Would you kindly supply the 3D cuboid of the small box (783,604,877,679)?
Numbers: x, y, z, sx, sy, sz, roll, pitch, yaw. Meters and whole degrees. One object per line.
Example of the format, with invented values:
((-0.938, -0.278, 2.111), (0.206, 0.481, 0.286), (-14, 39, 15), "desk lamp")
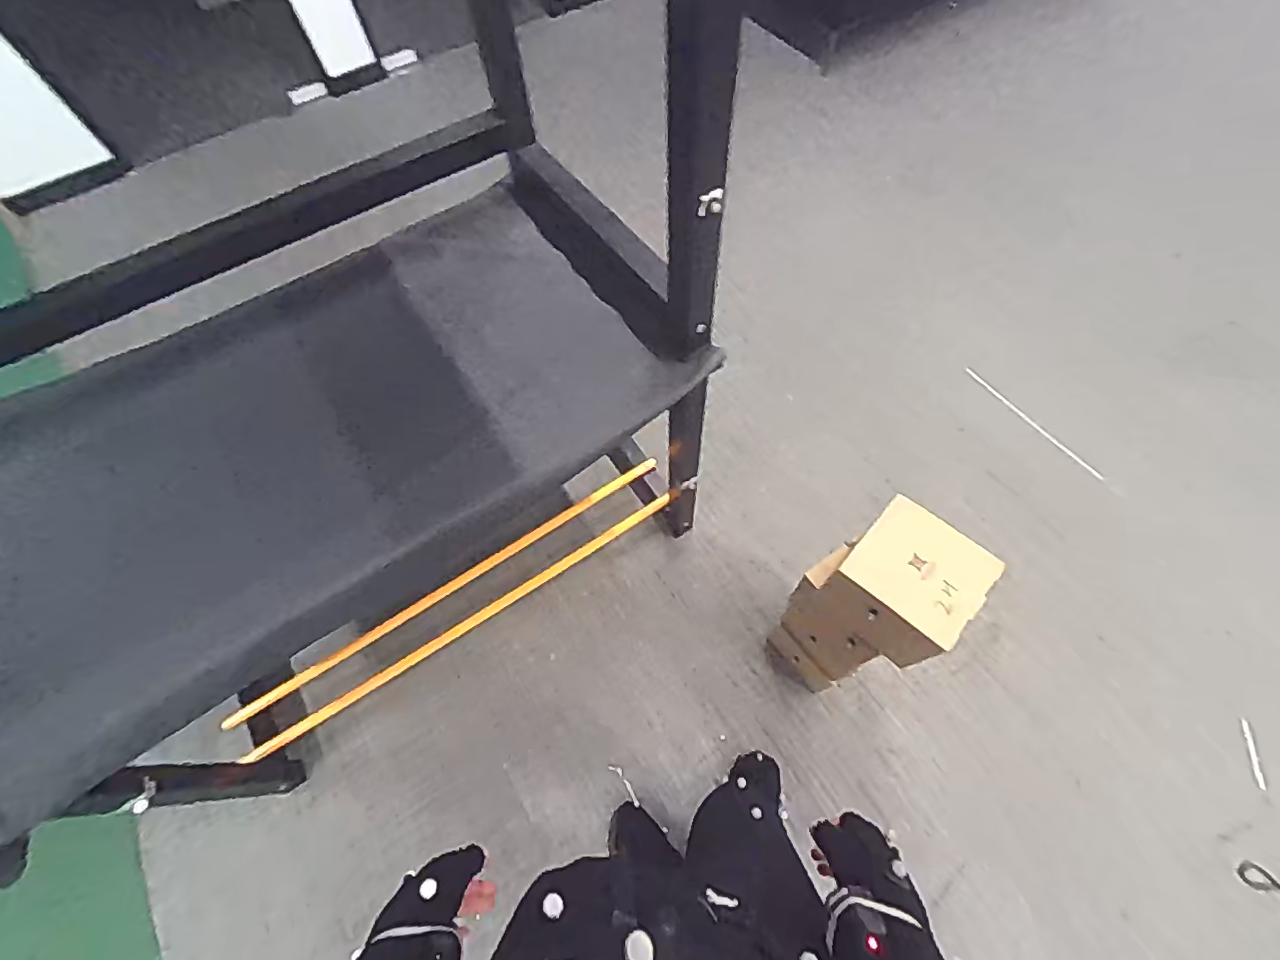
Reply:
((0.428, 0.297, 1.136), (0.168, 0.176, 0.179), (-34, 65, -14), "small box")

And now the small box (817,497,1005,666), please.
((0.403, 0.165, 0.838), (0.179, 0.176, 0.168), (39, 72, 20), "small box")

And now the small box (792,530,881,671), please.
((0.403, 0.225, 0.991), (0.168, 0.176, 0.179), (-32, 65, -12), "small box")
